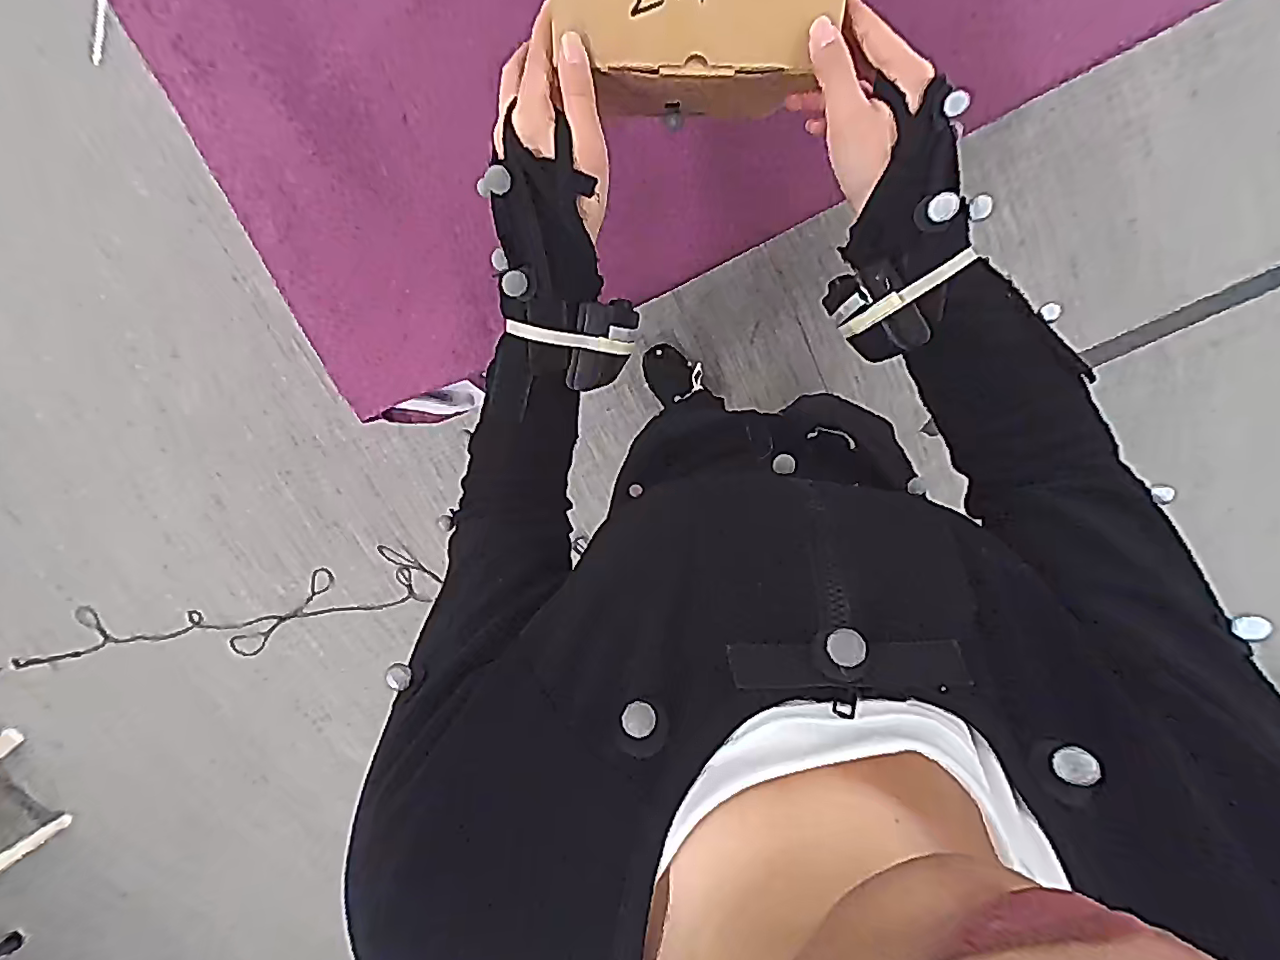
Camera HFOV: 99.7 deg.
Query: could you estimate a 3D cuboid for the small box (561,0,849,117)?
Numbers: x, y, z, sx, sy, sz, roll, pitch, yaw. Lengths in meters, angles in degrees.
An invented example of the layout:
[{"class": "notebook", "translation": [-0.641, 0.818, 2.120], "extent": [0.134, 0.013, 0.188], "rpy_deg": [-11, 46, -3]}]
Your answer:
[{"class": "small box", "translation": [0.032, -0.354, 0.349], "extent": [0.168, 0.176, 0.179], "rpy_deg": [-2, 116, -2]}]
